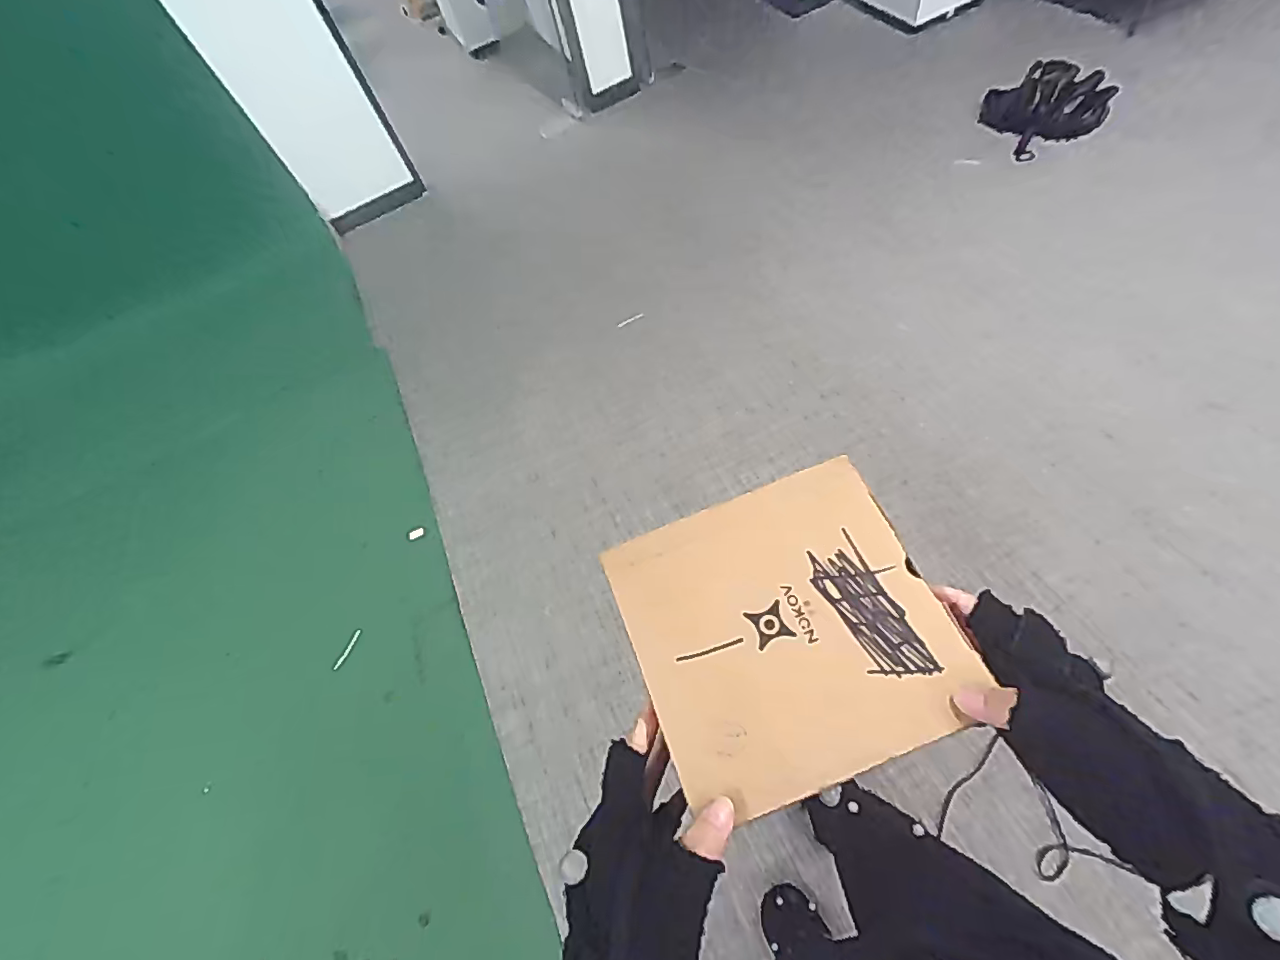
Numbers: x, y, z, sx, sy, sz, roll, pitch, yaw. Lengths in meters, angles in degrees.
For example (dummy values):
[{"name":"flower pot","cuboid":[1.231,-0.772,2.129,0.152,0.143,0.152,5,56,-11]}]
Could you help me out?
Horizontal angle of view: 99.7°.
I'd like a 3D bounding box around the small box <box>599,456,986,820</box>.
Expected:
[{"name":"small box","cuboid":[0.088,0.114,0.389,0.179,0.176,0.168,-22,62,-2]}]
